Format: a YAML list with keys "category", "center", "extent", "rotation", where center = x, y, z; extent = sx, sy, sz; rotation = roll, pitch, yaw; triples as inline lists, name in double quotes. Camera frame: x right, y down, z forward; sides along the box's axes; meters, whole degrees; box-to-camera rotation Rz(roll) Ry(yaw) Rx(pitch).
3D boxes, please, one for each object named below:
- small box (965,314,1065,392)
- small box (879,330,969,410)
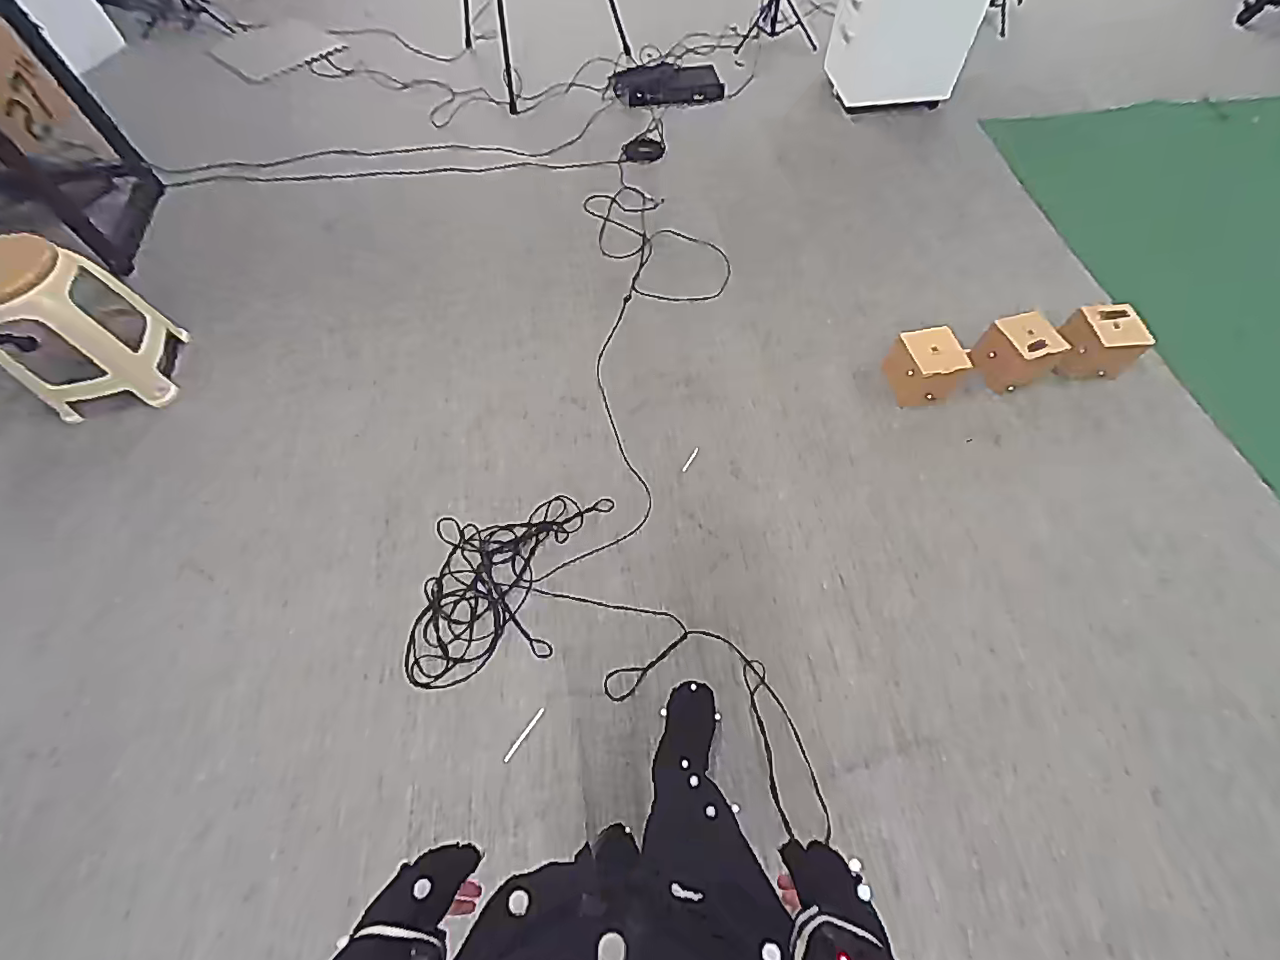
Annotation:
- category: "small box"
  center: [1.216, -0.407, 1.766]
  extent: [0.168, 0.176, 0.179]
  rotation: [-15, 60, -8]
- category: "small box"
  center: [0.904, -0.351, 1.740]
  extent: [0.168, 0.176, 0.179]
  rotation: [-11, 61, -5]
